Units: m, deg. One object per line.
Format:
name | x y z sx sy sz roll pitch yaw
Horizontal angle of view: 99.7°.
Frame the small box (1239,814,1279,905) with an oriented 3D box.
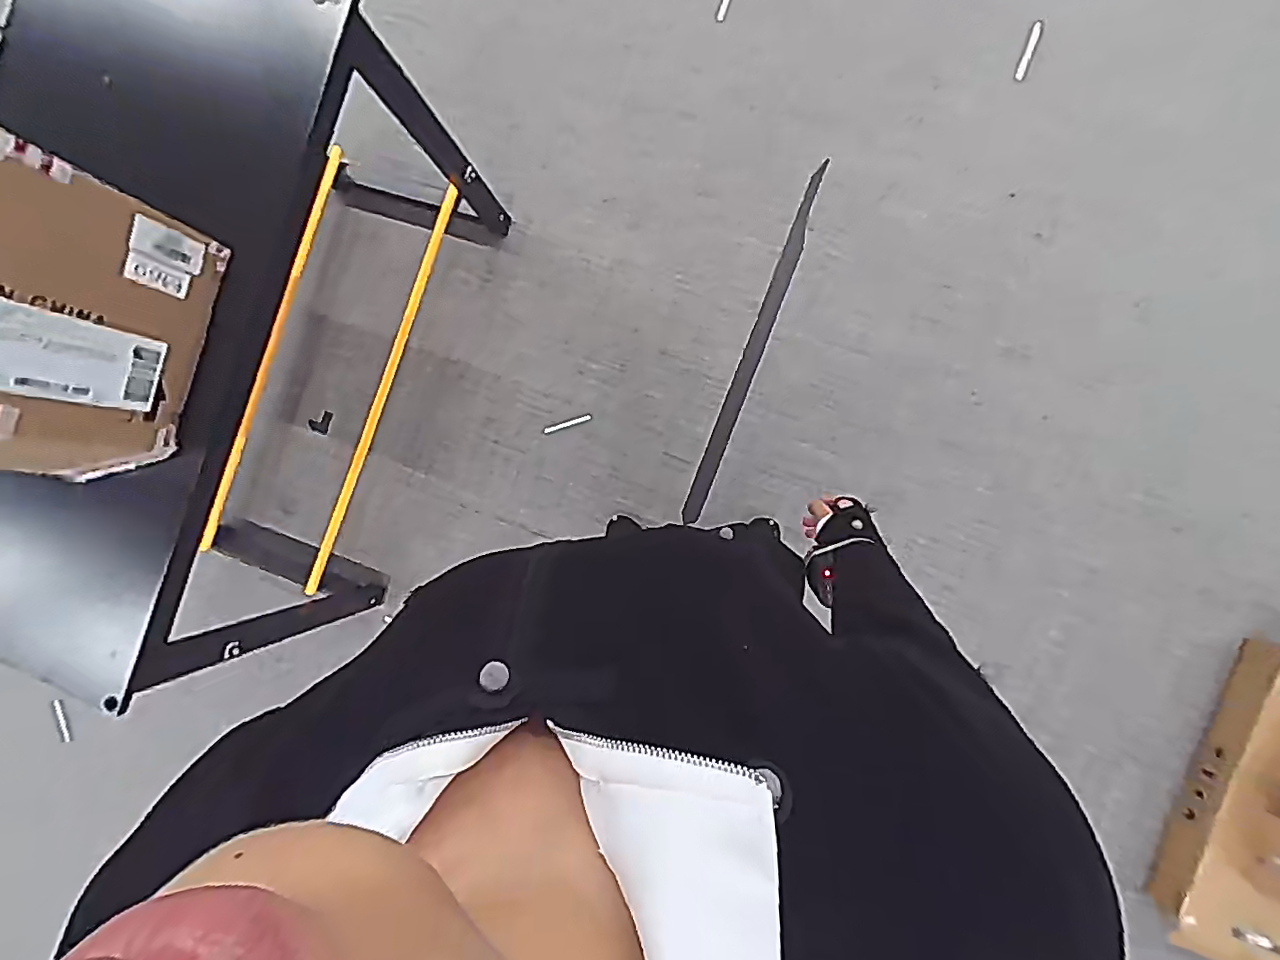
small box | 1.459 0.852 1.141 0.179 0.176 0.168 19 92 6
